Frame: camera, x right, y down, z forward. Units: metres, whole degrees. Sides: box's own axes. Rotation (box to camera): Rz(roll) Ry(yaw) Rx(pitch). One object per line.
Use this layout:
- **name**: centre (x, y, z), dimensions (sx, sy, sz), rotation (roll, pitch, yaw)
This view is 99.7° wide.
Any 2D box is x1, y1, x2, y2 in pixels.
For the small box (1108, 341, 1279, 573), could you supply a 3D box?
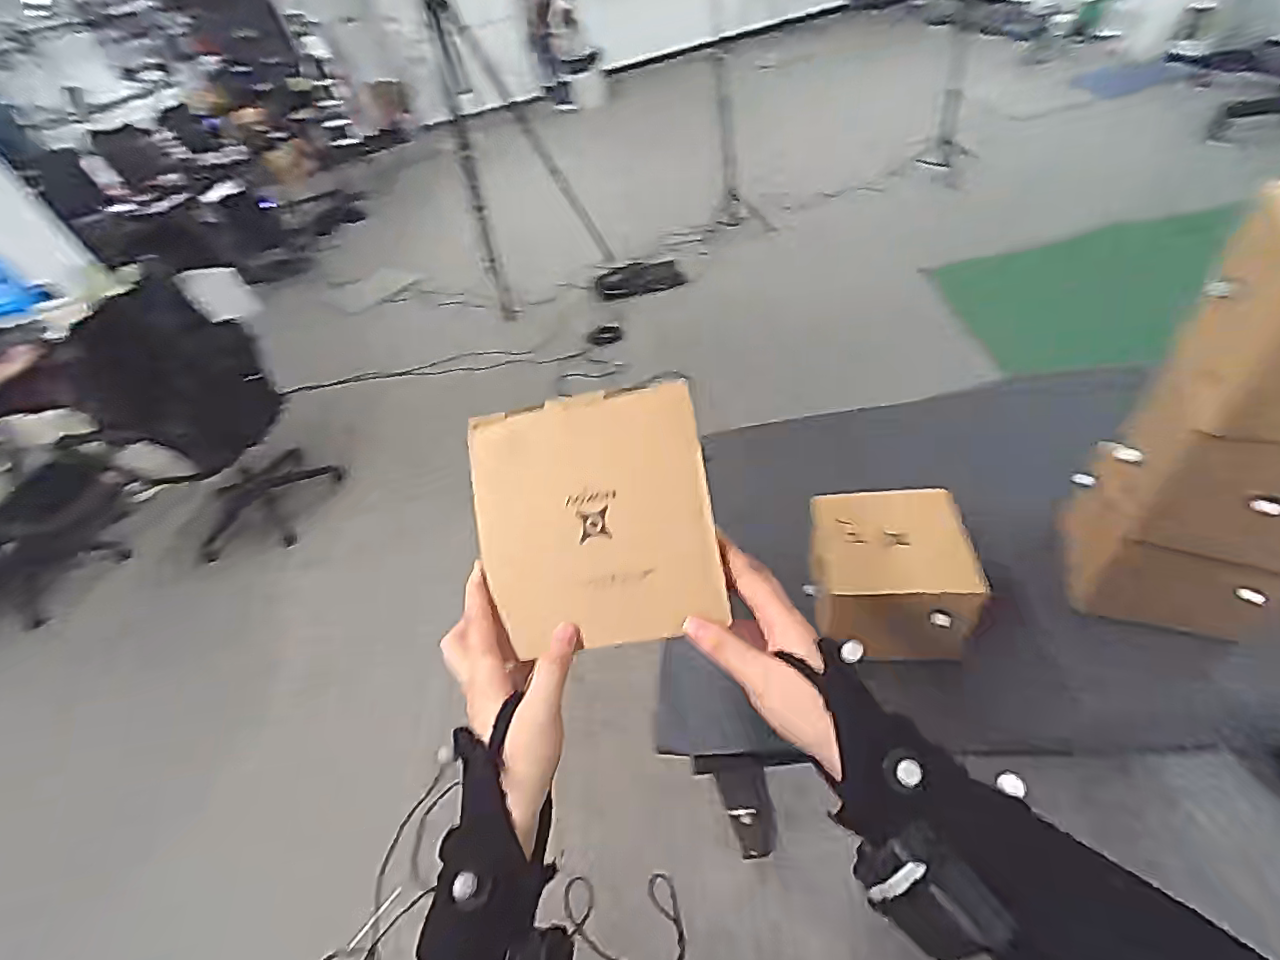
- **small box**: centre (0.642, -0.024, 0.573), dimensions (0.179, 0.176, 0.168), rotation (14, 51, 28)

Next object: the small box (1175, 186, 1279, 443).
- **small box**: centre (0.606, -0.135, 0.460), dimensions (0.179, 0.176, 0.168), rotation (12, 50, 26)

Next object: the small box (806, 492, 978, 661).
- **small box**: centre (0.327, 0.136, 0.744), dimensions (0.179, 0.176, 0.168), rotation (-5, 45, 12)
